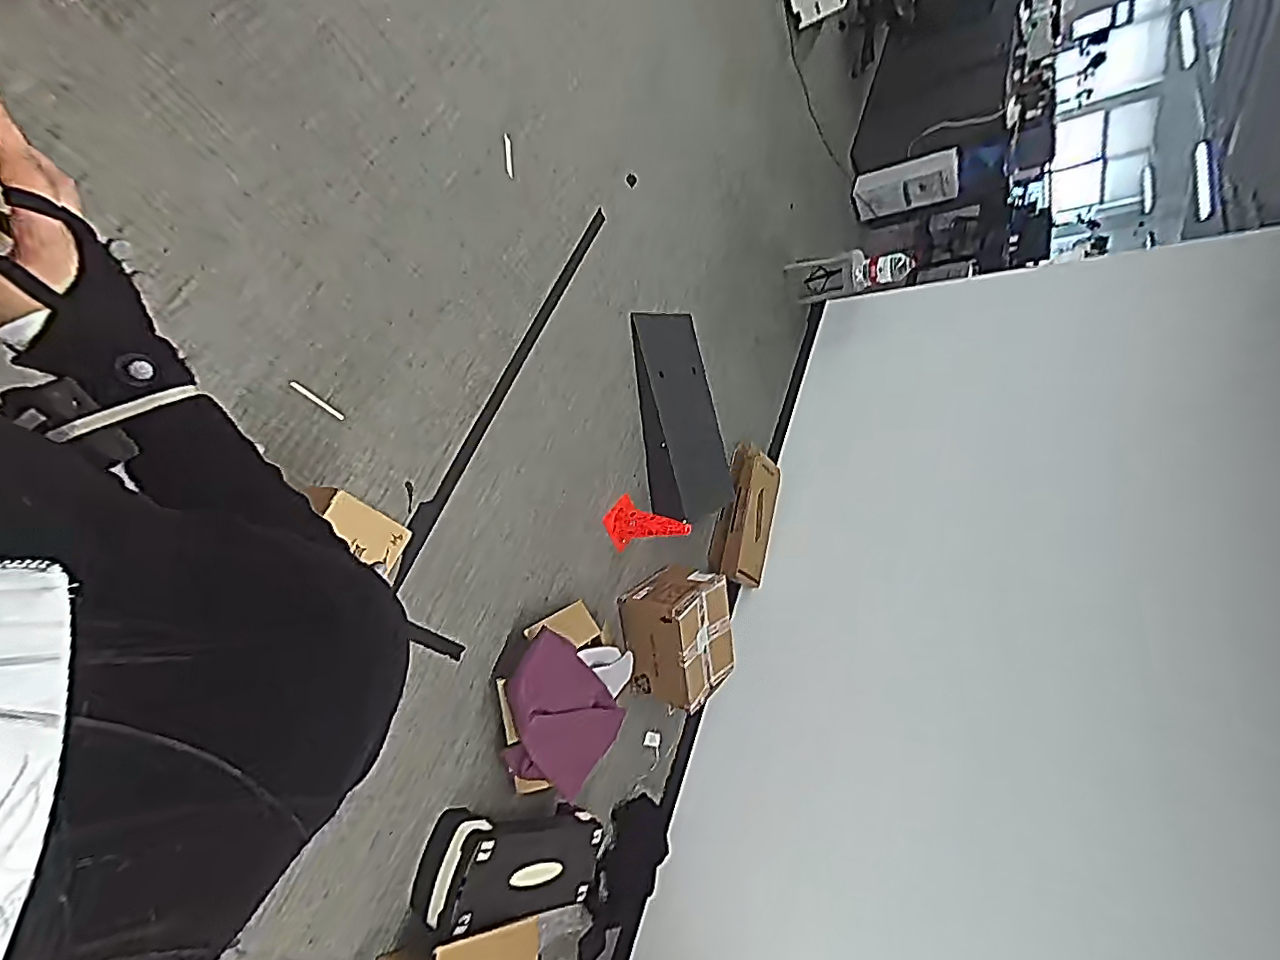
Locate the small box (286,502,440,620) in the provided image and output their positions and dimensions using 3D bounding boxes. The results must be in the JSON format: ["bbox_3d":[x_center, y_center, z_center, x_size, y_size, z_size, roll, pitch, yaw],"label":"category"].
[{"bbox_3d":[-0.538,0.153,1.050,0.179,0.176,0.168,47,56,-43],"label":"small box"}]

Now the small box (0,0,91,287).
[{"bbox_3d":[-0.382,-0.182,0.233,0.179,0.176,0.168,-11,111,-53],"label":"small box"}]
